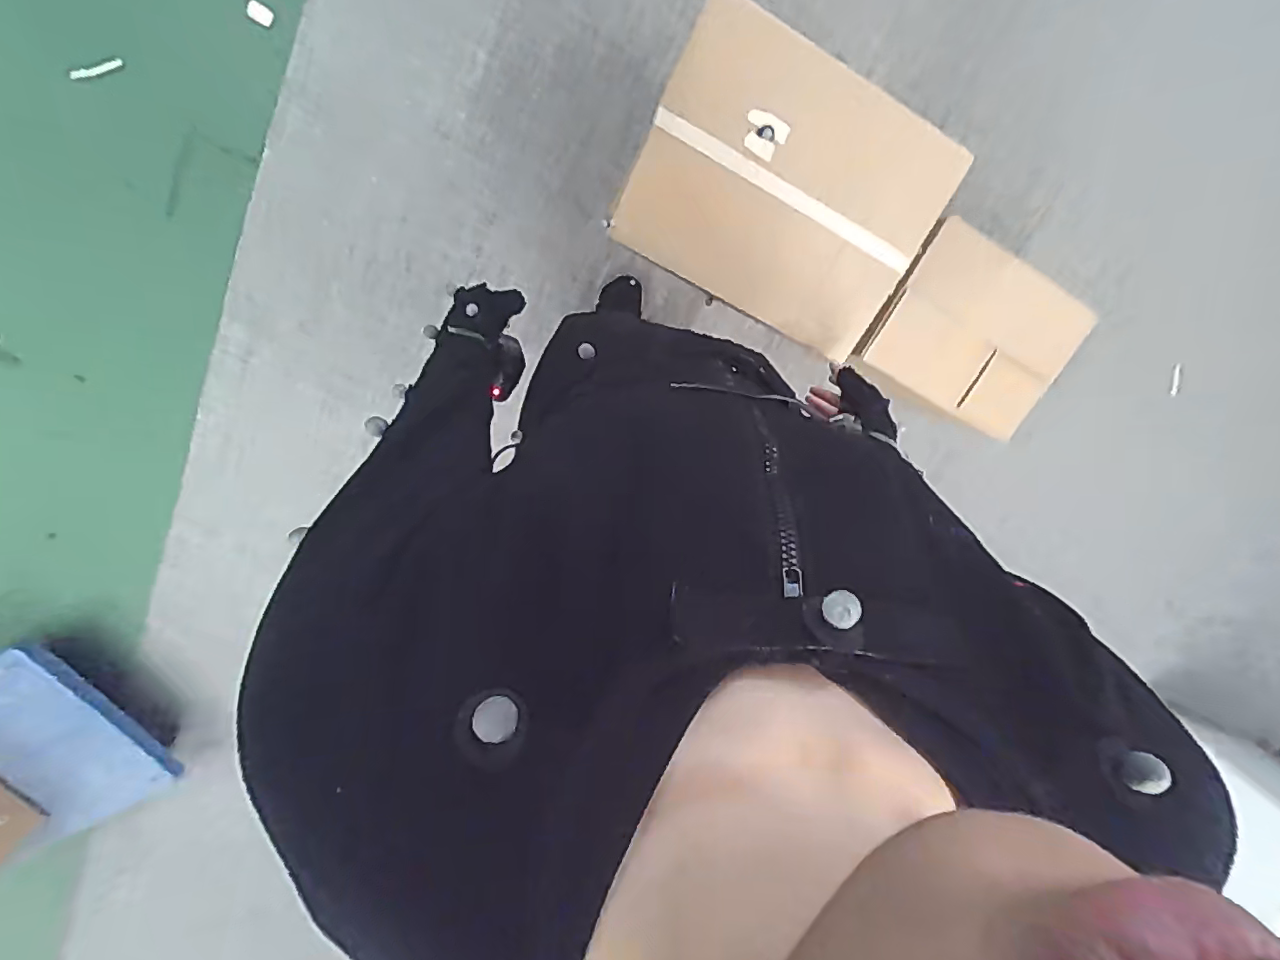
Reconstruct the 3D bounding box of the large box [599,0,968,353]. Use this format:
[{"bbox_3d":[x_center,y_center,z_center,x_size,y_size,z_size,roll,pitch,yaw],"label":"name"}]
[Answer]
[{"bbox_3d":[0.189,-0.451,0.862,0.408,0.320,0.320,25,110,-10],"label":"large box"}]
